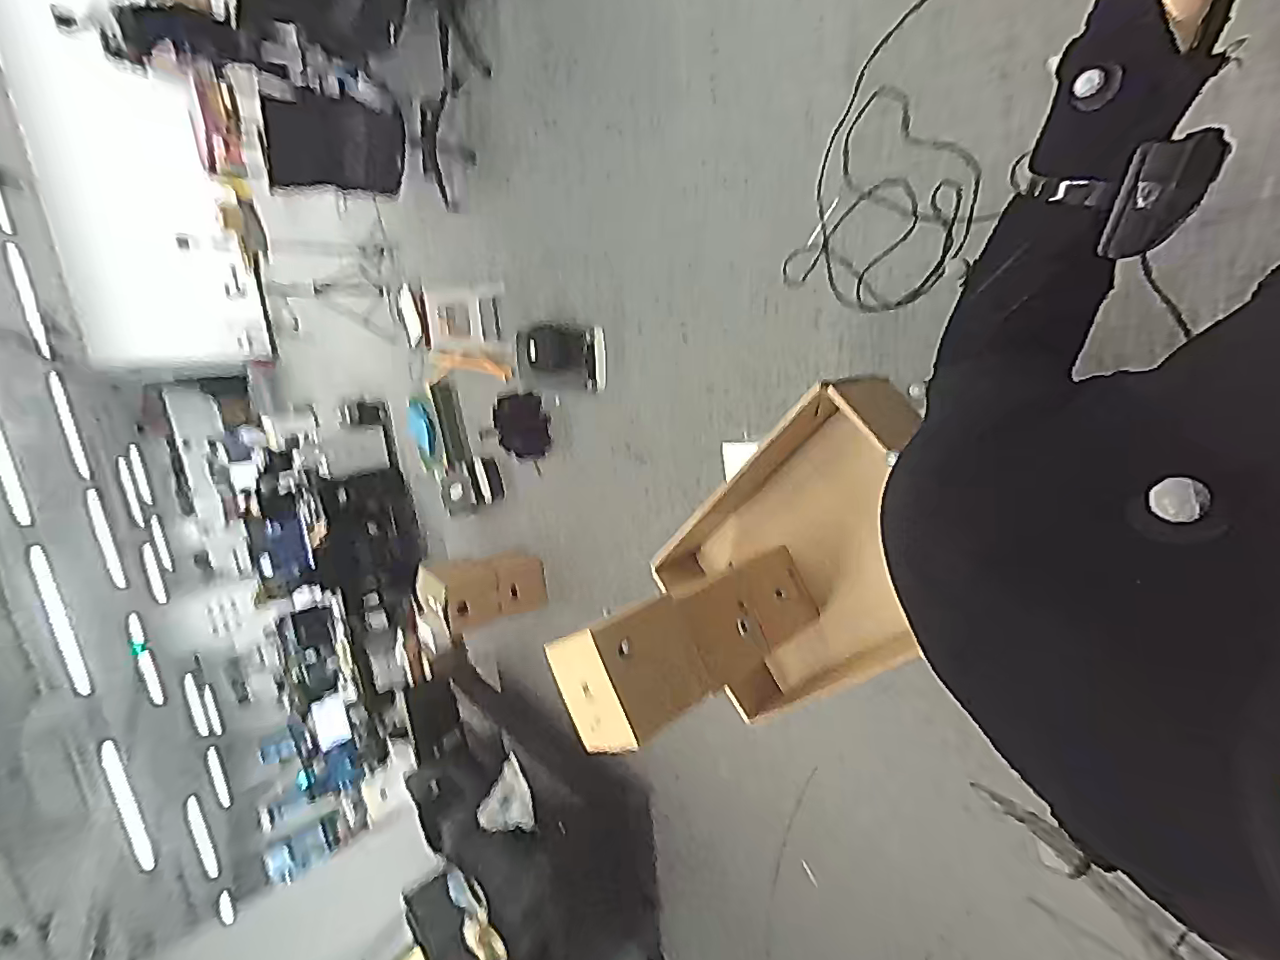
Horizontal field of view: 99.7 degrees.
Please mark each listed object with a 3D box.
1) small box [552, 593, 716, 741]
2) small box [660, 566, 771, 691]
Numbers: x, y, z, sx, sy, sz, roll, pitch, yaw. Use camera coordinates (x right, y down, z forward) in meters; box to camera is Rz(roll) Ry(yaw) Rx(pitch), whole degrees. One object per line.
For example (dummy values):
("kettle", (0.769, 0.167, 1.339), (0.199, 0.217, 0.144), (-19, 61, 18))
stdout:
("small box", (-0.011, 0.301, 0.889), (0.168, 0.176, 0.179), (-37, 76, 50))
("small box", (0.107, 0.277, 1.003), (0.179, 0.176, 0.168), (-32, 80, 49))
